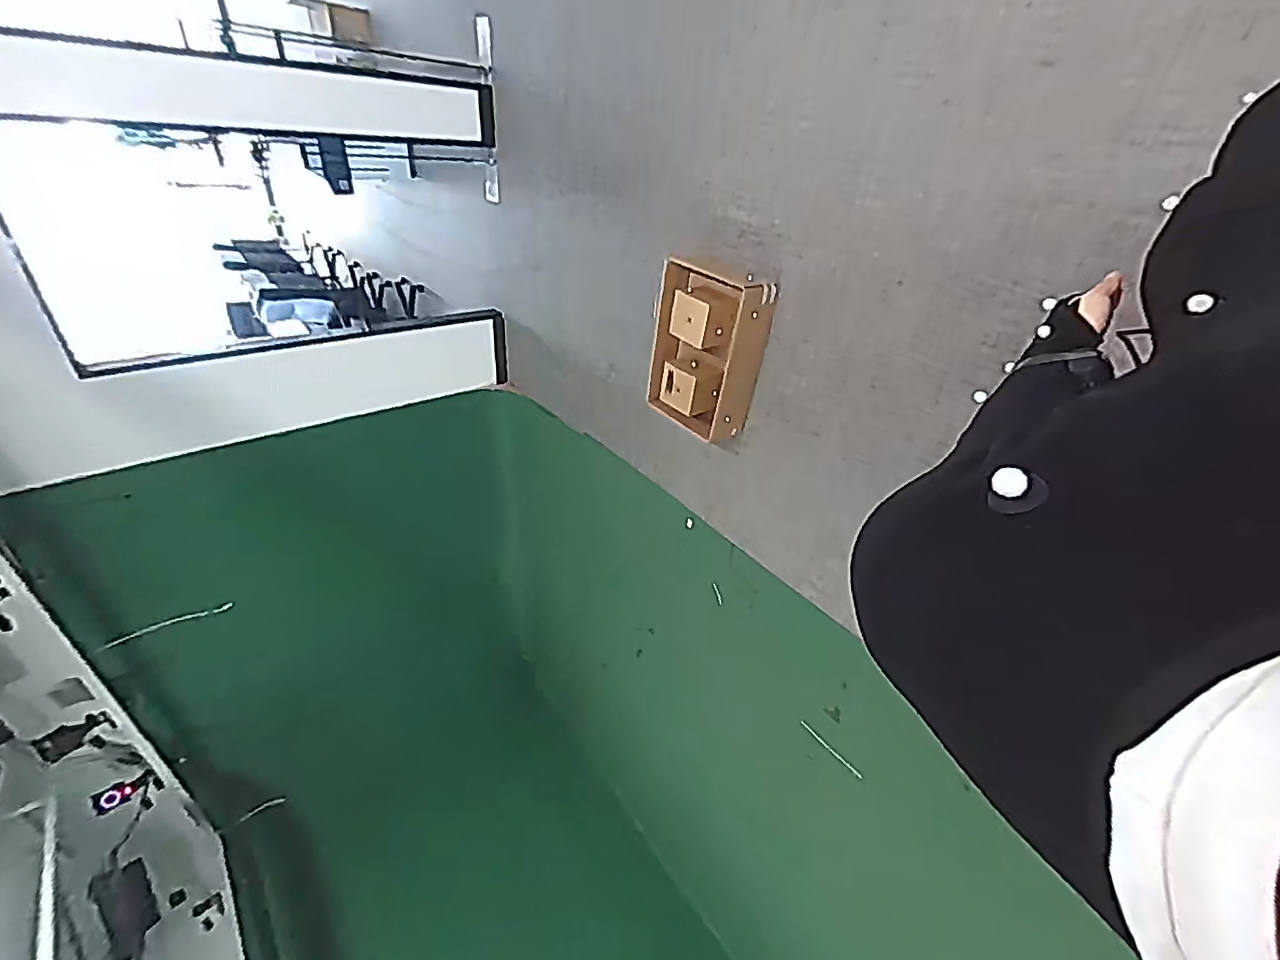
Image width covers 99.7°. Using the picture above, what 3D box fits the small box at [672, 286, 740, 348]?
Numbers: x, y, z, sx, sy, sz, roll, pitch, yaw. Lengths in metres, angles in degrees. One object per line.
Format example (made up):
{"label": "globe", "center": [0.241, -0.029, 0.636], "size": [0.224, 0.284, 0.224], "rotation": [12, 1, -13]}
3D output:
{"label": "small box", "center": [0.248, -0.614, 2.019], "size": [0.179, 0.176, 0.168], "rotation": [39, 136, 35]}
